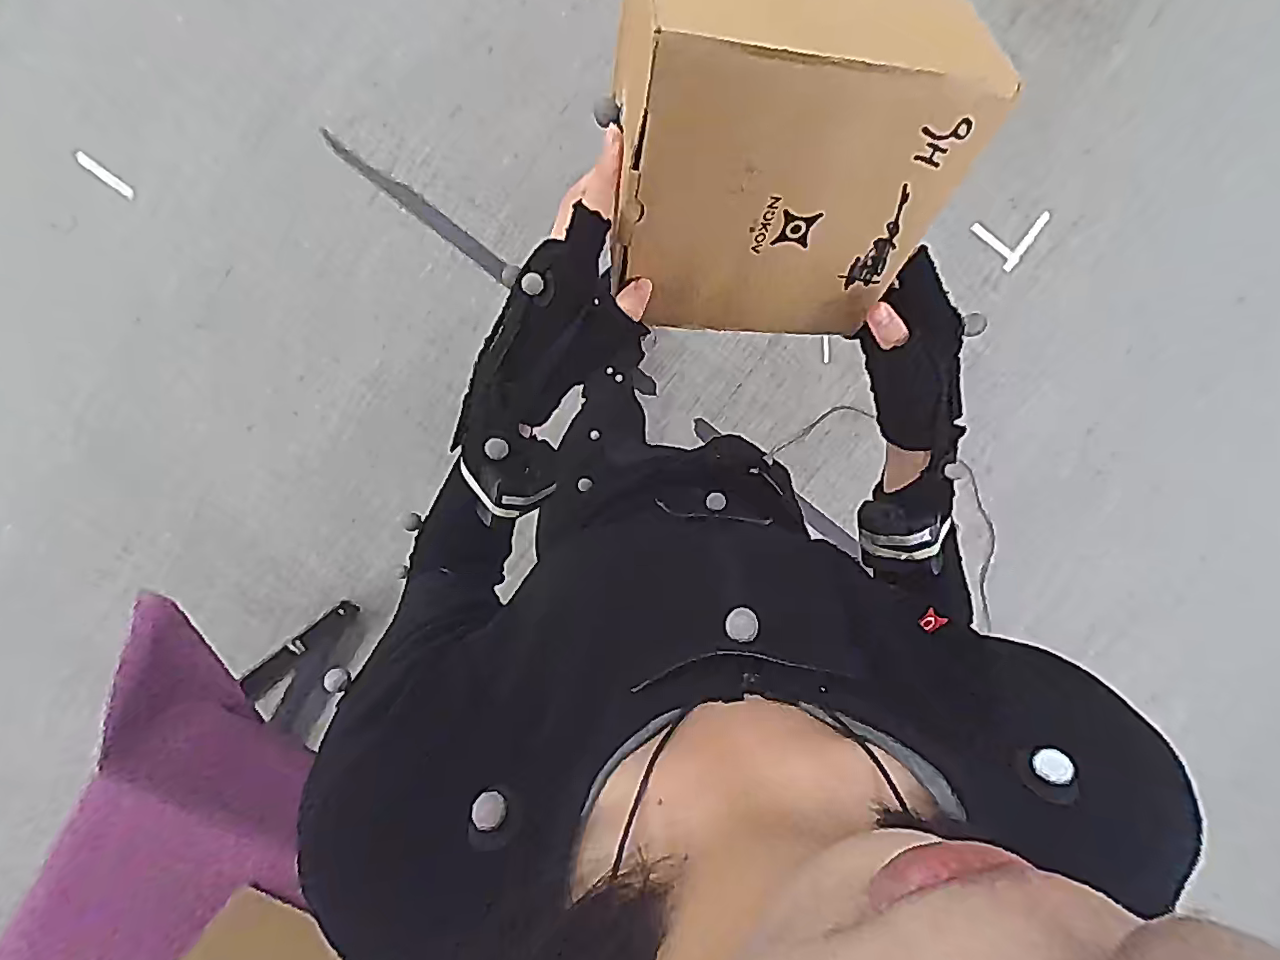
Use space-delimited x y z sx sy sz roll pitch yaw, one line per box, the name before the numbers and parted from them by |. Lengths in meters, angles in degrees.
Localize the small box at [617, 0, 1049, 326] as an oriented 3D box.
small box | 0.081 -0.222 0.332 0.179 0.168 0.176 3 62 -9
